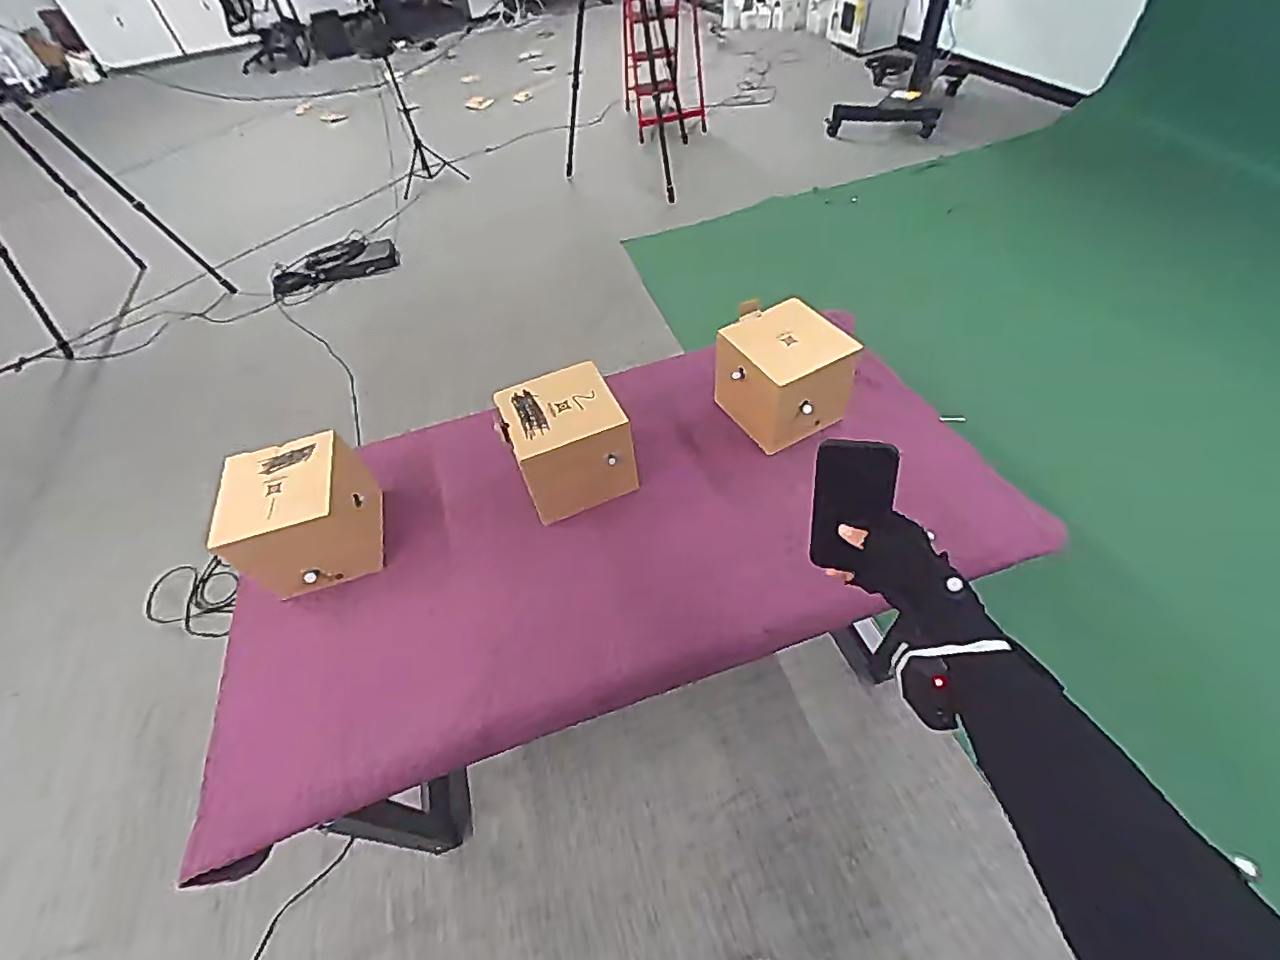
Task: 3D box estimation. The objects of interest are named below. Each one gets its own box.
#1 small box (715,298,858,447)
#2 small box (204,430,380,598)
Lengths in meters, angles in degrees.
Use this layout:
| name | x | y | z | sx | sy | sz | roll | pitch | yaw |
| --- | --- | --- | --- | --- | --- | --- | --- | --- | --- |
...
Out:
| name | x | y | z | sx | sy | sz | roll | pitch | yaw |
| --- | --- | --- | --- | --- | --- | --- | --- | --- | --- |
| small box | 0.246 | -0.180 | 0.949 | 0.168 | 0.176 | 0.179 | -26 | 53 | -13 |
| small box | -0.526 | 0.055 | 0.848 | 0.168 | 0.176 | 0.179 | -17 | 53 | -7 |
